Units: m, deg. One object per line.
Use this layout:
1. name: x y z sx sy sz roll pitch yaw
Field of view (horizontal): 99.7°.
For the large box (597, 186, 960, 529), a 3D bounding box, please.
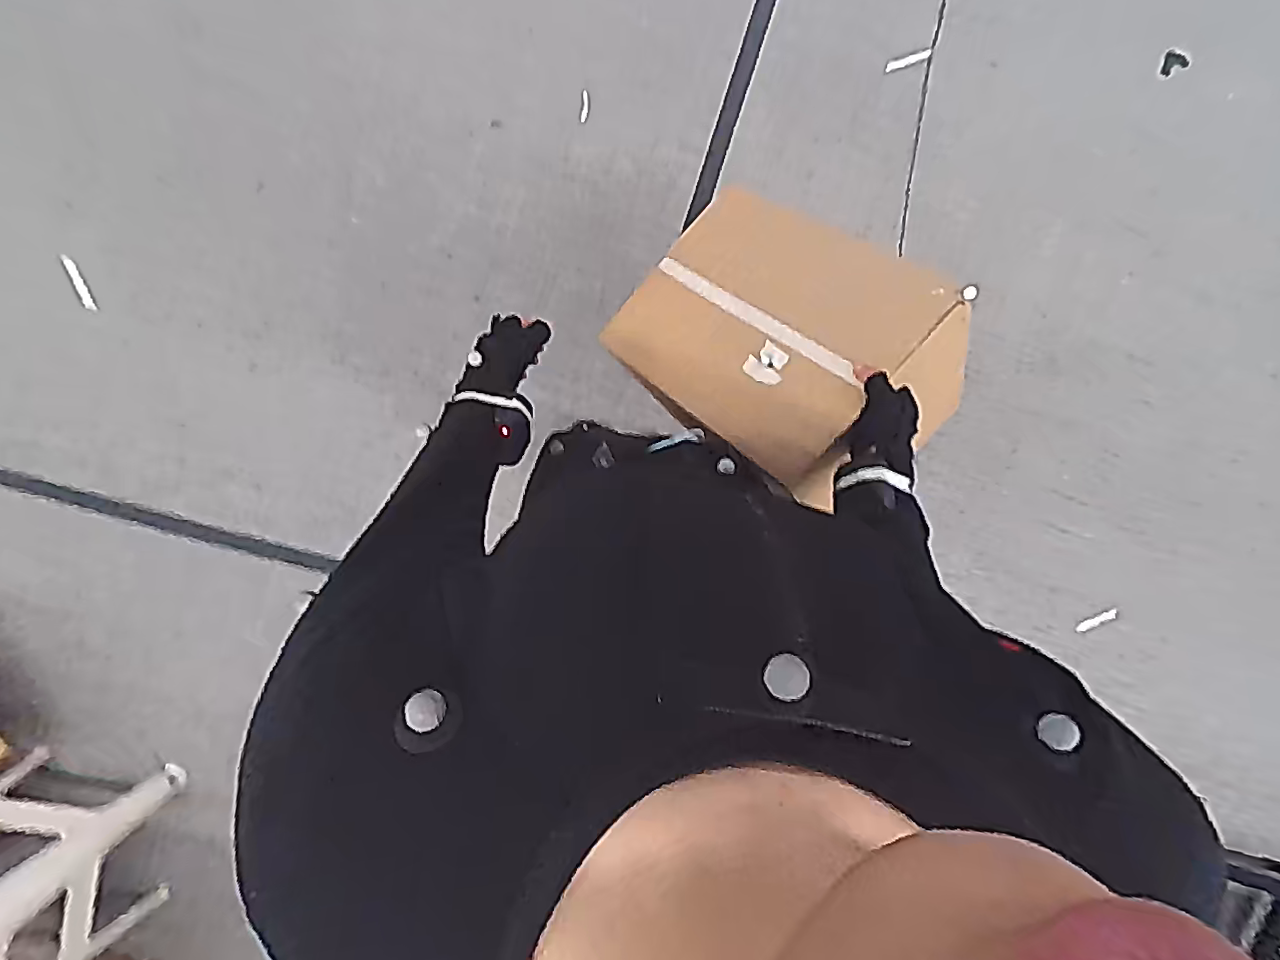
1. large box: 0.214 -0.184 0.872 0.320 0.320 0.408 -50 60 5
